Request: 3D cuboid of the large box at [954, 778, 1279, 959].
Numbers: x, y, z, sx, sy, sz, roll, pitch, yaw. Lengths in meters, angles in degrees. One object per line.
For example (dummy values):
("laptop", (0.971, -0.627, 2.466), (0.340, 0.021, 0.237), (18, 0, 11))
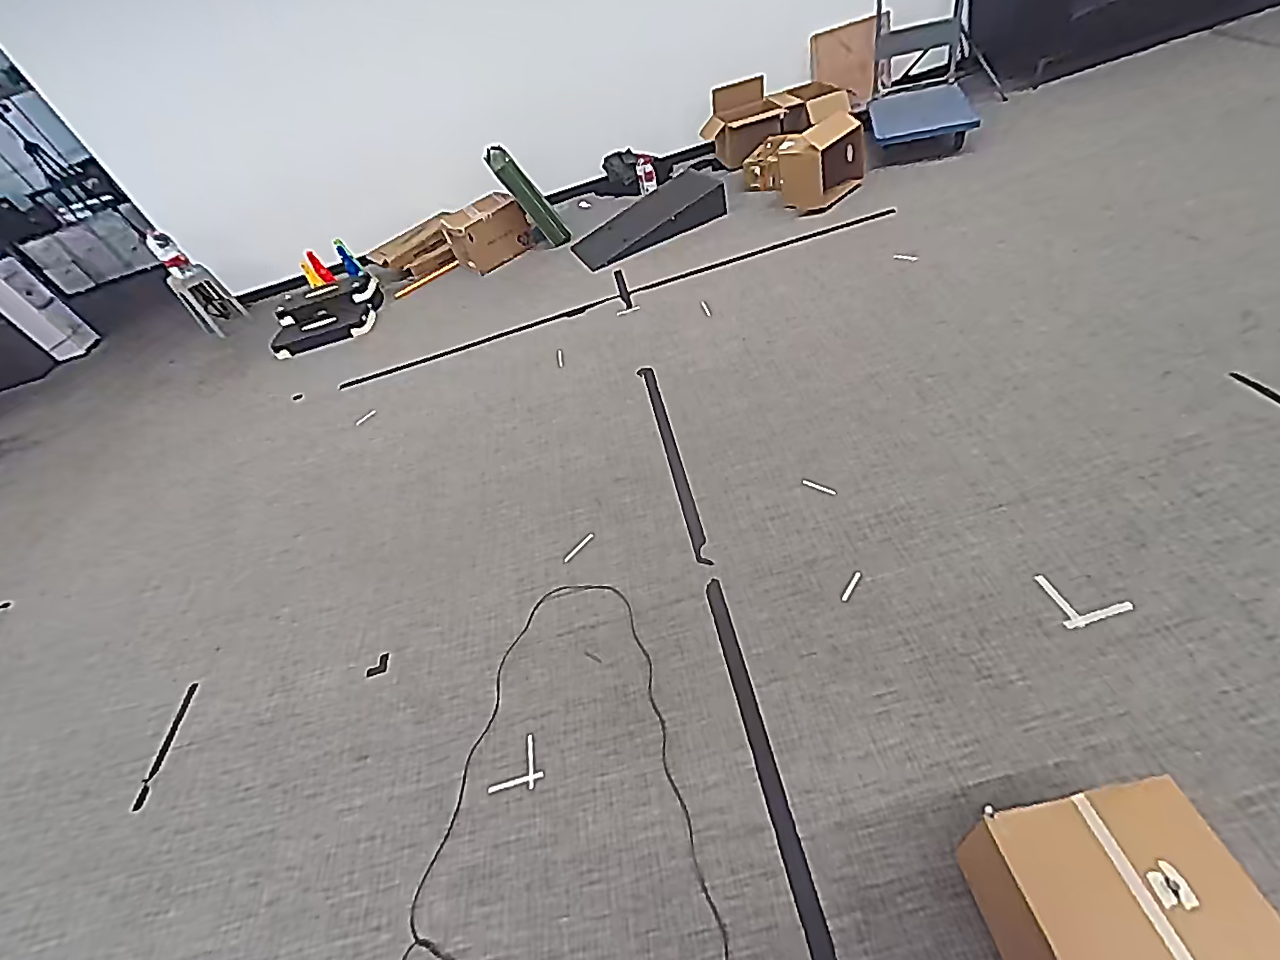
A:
("large box", (0.796, 0.782, 0.887), (0.320, 0.320, 0.408), (-15, 43, 3))
